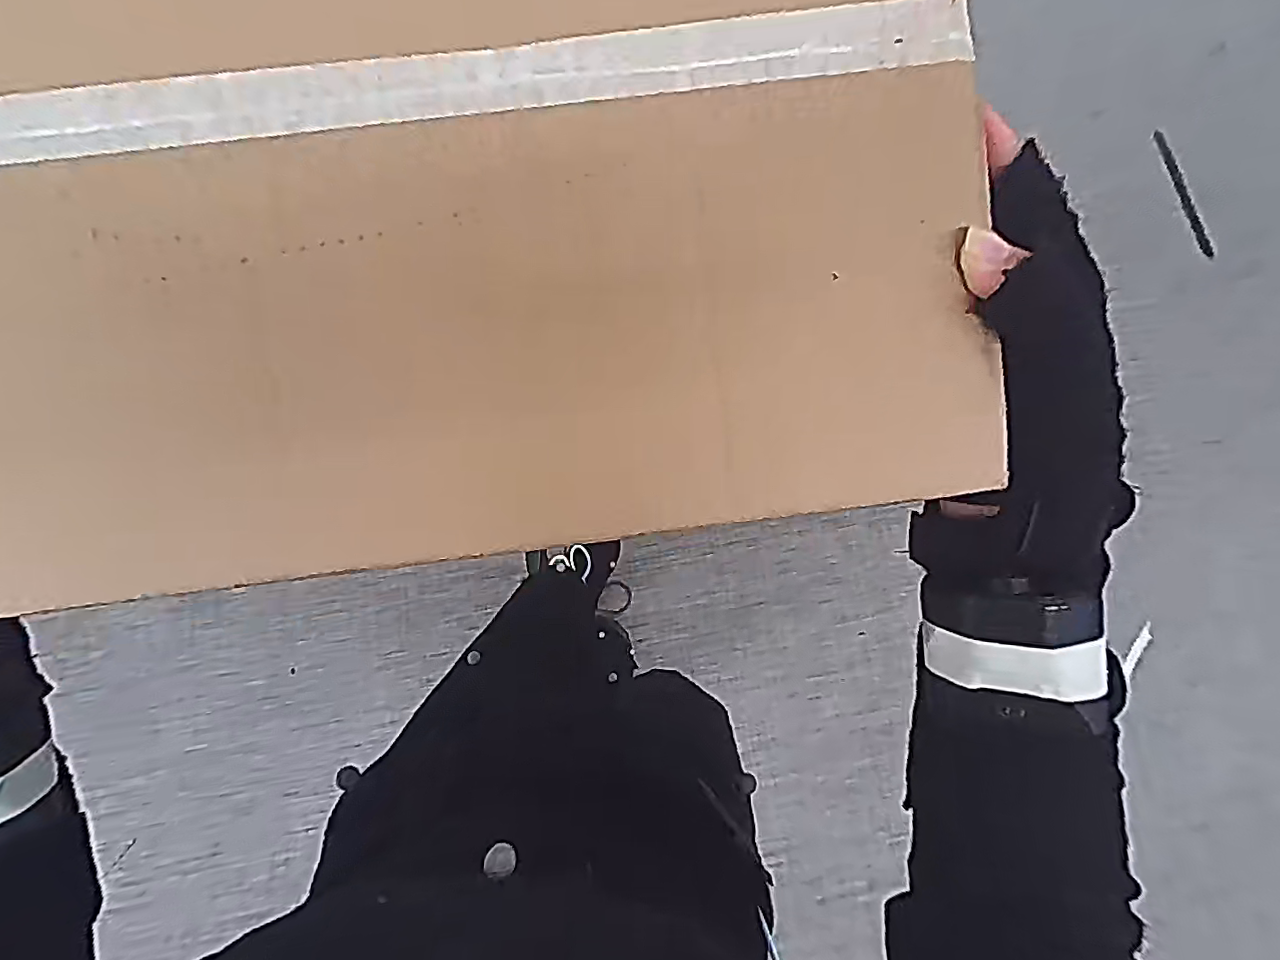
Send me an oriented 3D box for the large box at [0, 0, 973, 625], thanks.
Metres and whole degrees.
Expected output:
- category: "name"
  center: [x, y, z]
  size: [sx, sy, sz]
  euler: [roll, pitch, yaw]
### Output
- category: "large box"
  center: [-0.090, -0.128, 0.350]
  size: [0.408, 0.320, 0.320]
  euler: [-7, 93, -1]
